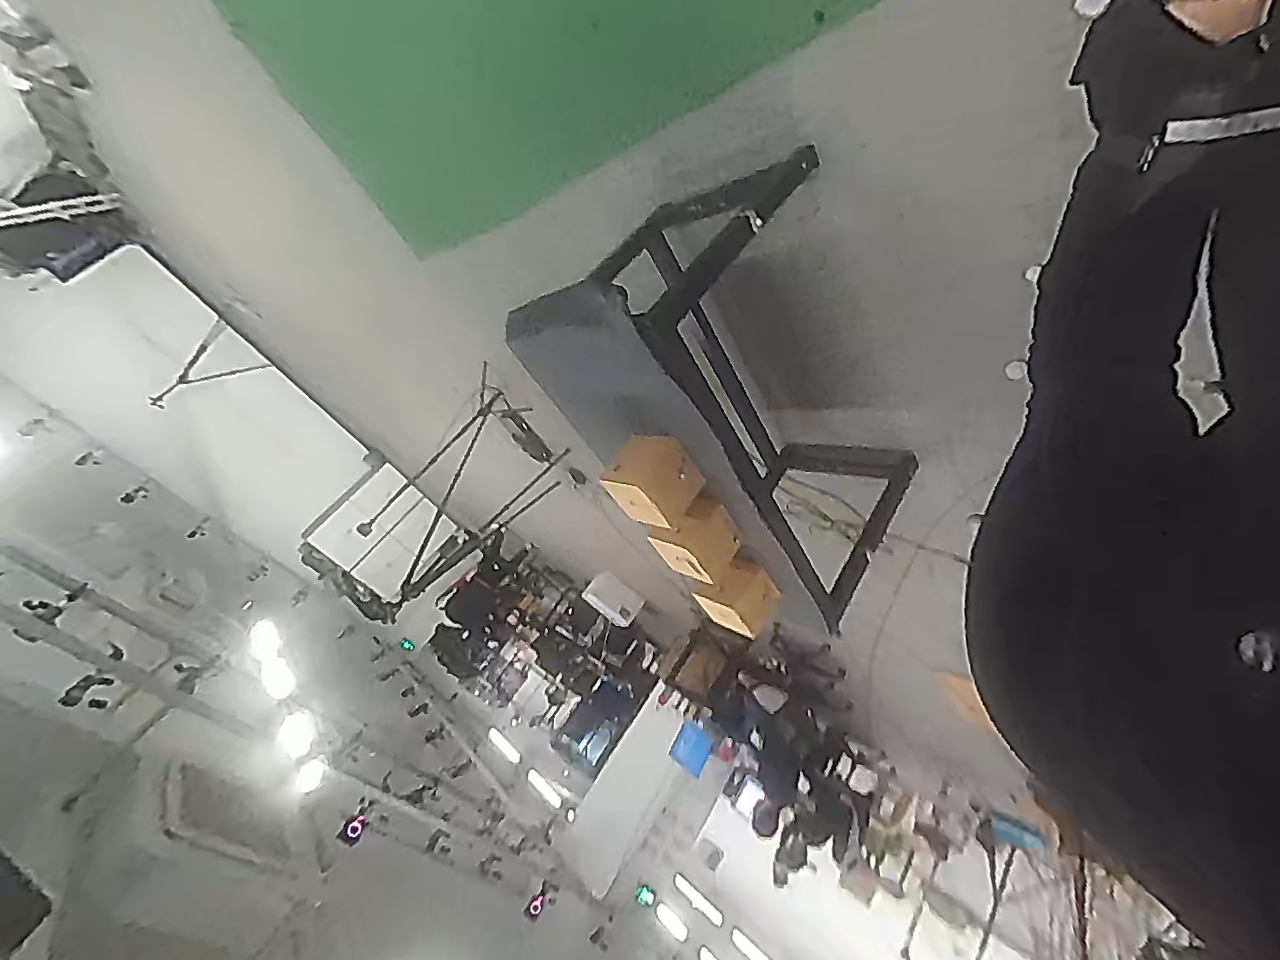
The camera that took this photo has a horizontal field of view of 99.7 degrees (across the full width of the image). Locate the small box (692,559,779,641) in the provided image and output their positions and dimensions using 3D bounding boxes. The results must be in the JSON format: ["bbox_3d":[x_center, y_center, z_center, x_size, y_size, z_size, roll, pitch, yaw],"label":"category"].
[{"bbox_3d":[0.302,0.366,1.695,0.179,0.176,0.168,10,143,50],"label":"small box"}]

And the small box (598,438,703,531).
[{"bbox_3d":[0.032,0.005,1.414,0.179,0.176,0.168,8,144,50],"label":"small box"}]

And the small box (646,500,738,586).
[{"bbox_3d":[0.158,0.170,1.540,0.179,0.176,0.168,11,145,49],"label":"small box"}]
